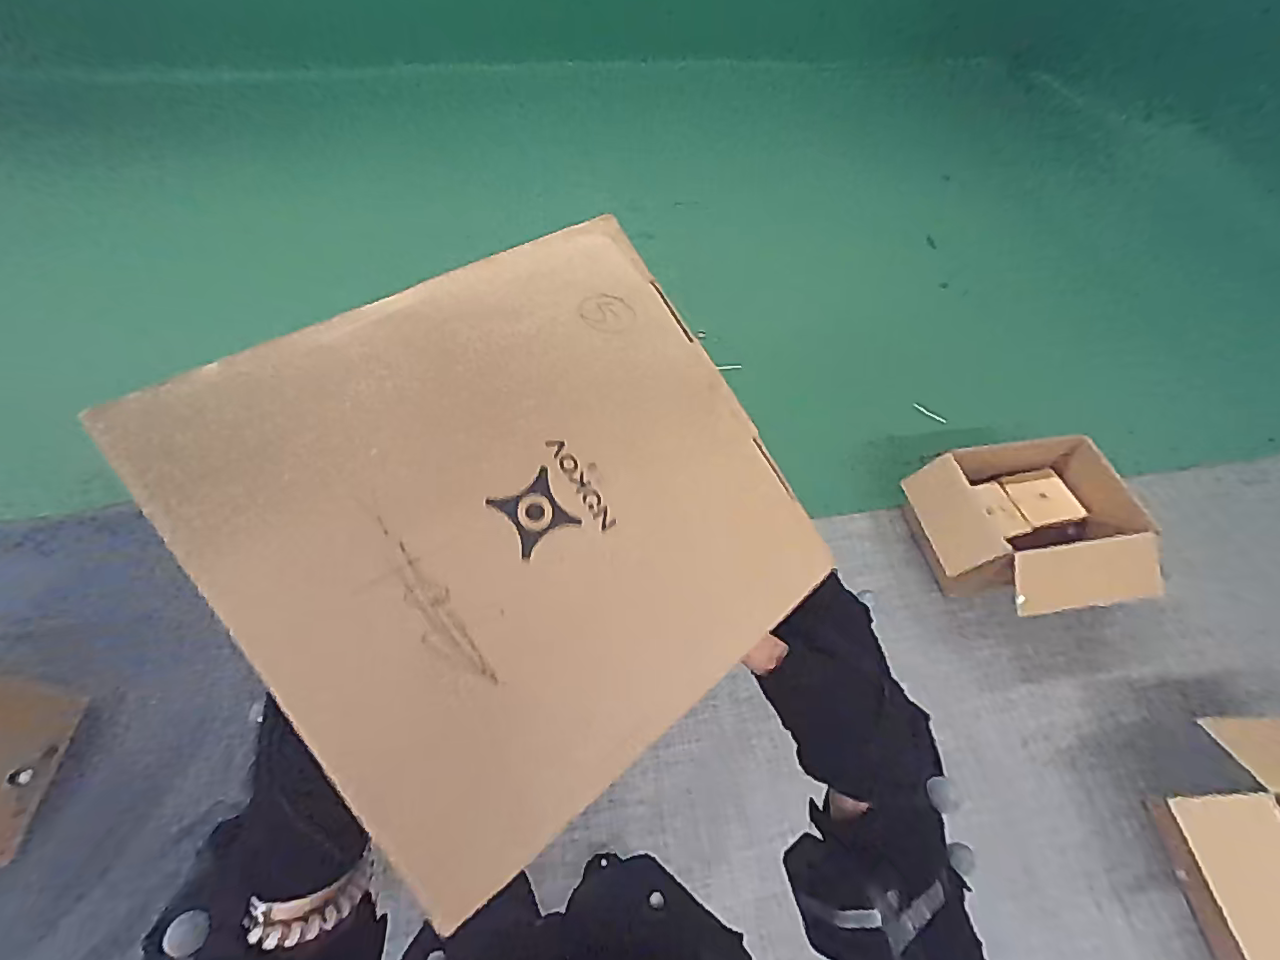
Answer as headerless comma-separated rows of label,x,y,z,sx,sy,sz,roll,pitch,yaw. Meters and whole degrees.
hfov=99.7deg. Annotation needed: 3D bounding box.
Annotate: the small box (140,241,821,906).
small box,-0.061,0.029,0.258,0.179,0.176,0.168,-34,89,-26
